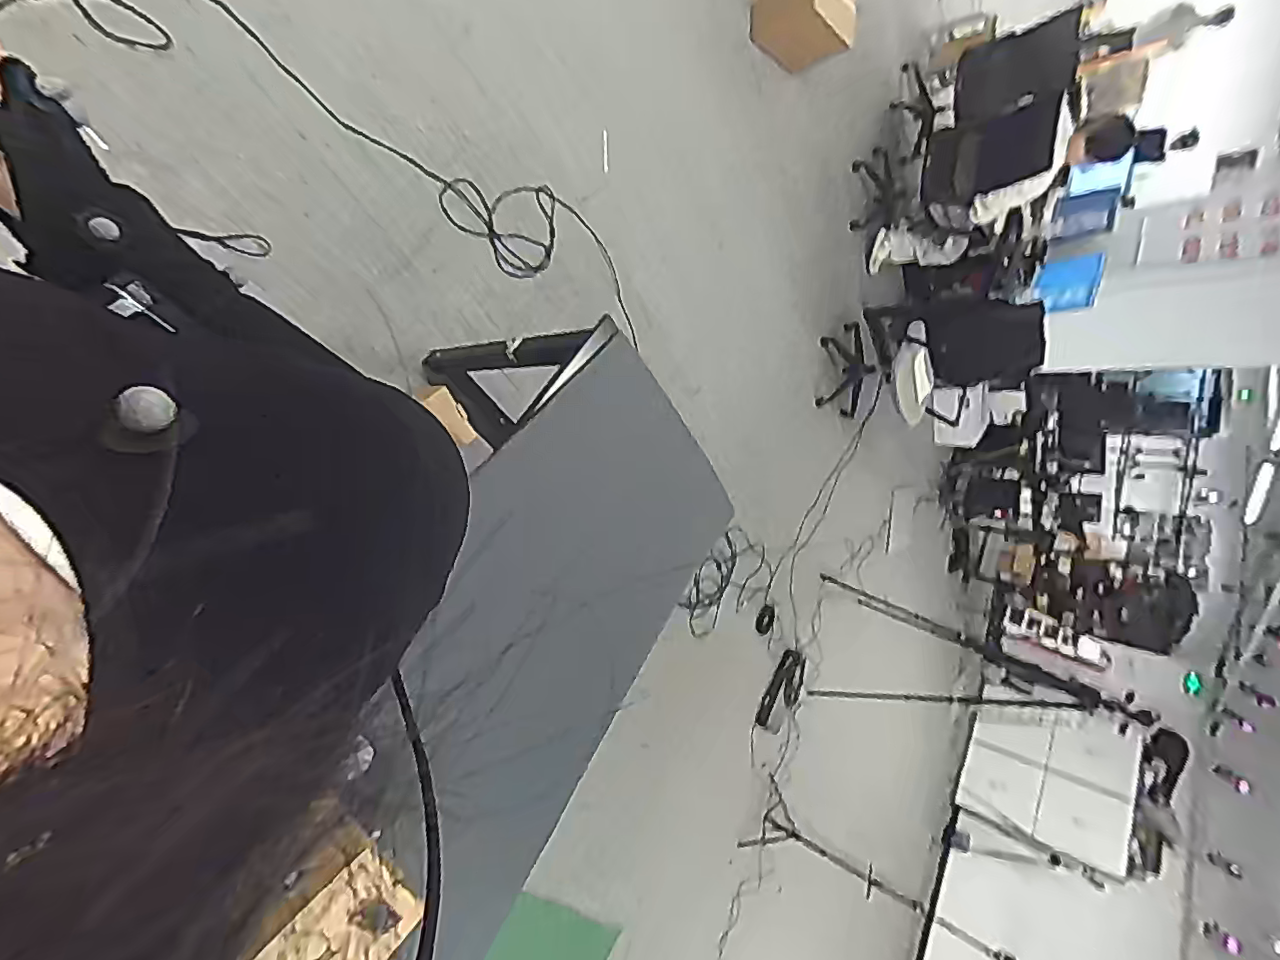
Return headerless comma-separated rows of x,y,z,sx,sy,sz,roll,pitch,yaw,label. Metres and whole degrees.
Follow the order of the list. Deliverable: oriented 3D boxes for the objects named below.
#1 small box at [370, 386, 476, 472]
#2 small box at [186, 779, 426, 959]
-0.591,-0.143,1.470,0.179,0.176,0.168,-48,127,-32,small box
-0.413,0.523,0.676,0.179,0.176,0.168,-40,125,-38,small box
